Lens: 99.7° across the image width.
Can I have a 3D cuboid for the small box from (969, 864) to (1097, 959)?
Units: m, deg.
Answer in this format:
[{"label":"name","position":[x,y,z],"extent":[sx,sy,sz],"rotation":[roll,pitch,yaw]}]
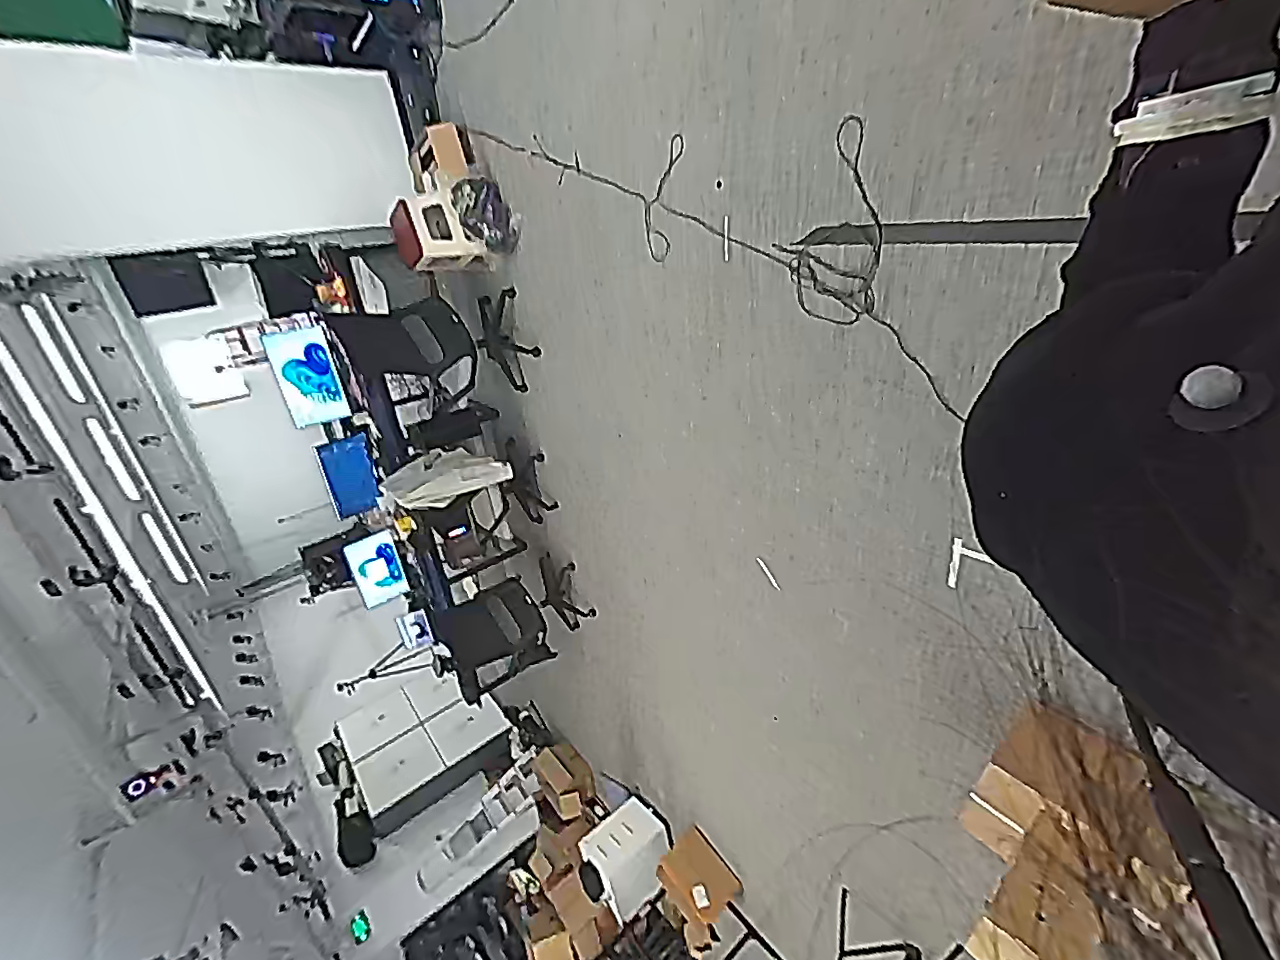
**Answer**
[{"label":"small box","position":[0.876,1.013,1.204],"extent":[0.168,0.176,0.179],"rotation":[30,132,42]}]
